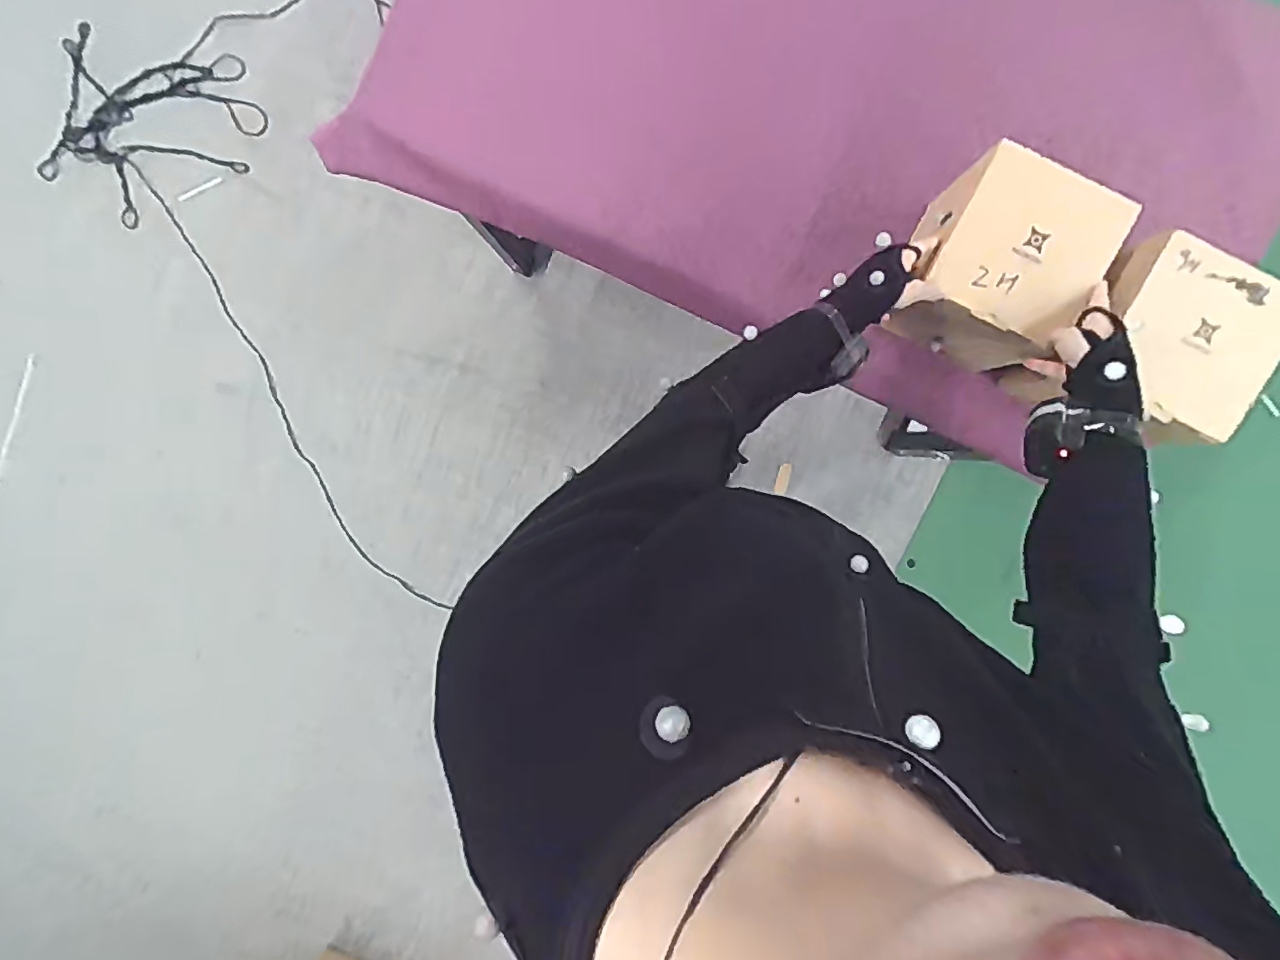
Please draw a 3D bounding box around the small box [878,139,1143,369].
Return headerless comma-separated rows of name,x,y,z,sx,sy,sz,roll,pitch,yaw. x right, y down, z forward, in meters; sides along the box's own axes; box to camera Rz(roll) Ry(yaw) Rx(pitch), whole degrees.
small box,0.422,-0.253,0.654,0.168,0.176,0.179,28,97,1
